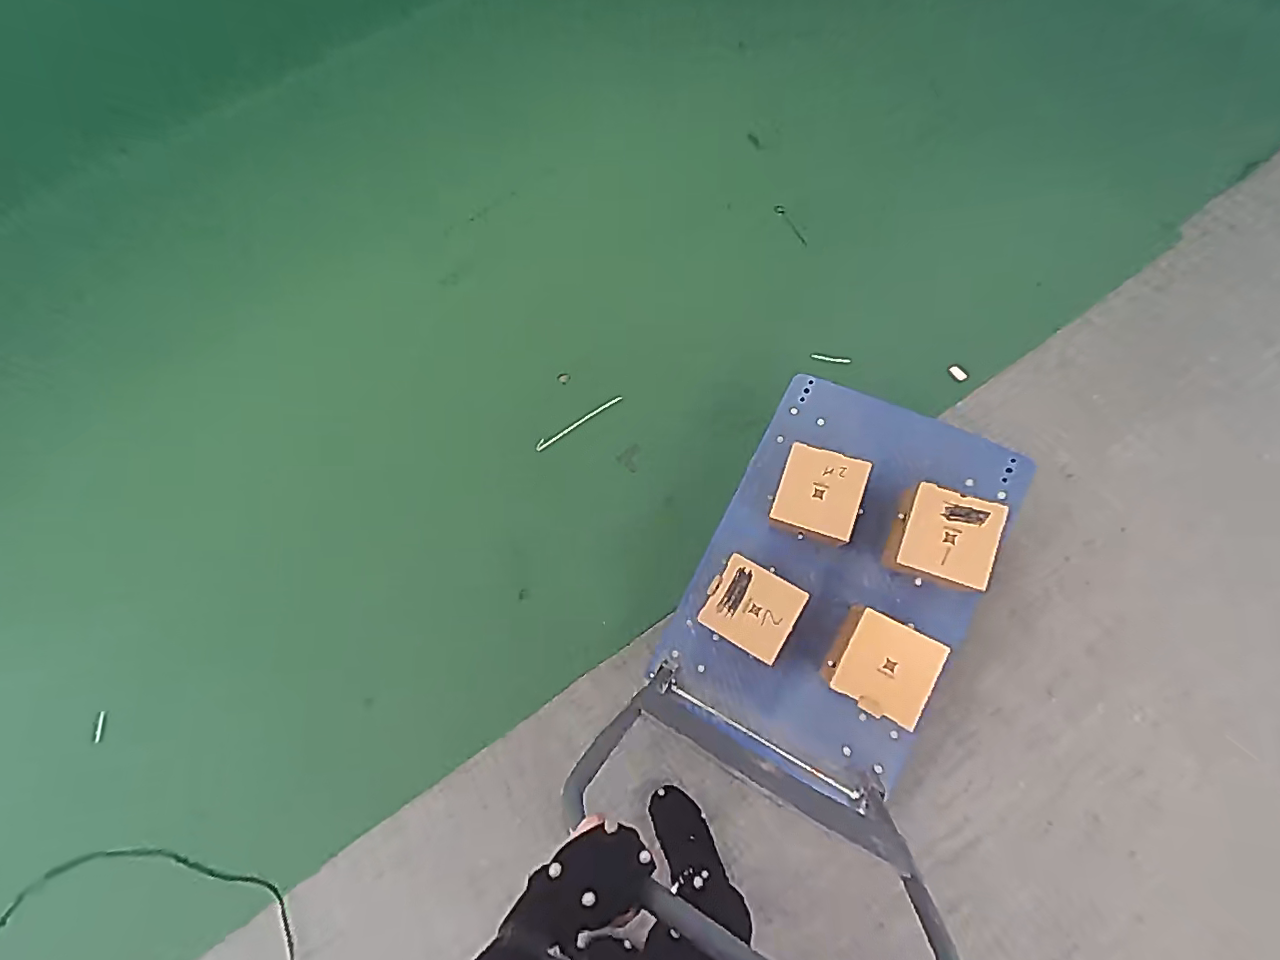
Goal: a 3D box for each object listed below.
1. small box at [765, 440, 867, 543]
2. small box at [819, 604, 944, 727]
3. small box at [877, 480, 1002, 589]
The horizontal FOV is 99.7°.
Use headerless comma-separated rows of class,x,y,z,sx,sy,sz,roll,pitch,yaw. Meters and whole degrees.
small box,0.386,0.033,1.209,0.168,0.176,0.179,19,83,14
small box,0.487,0.371,1.120,0.168,0.176,0.179,27,85,15
small box,0.622,0.120,1.144,0.168,0.176,0.179,19,84,15
